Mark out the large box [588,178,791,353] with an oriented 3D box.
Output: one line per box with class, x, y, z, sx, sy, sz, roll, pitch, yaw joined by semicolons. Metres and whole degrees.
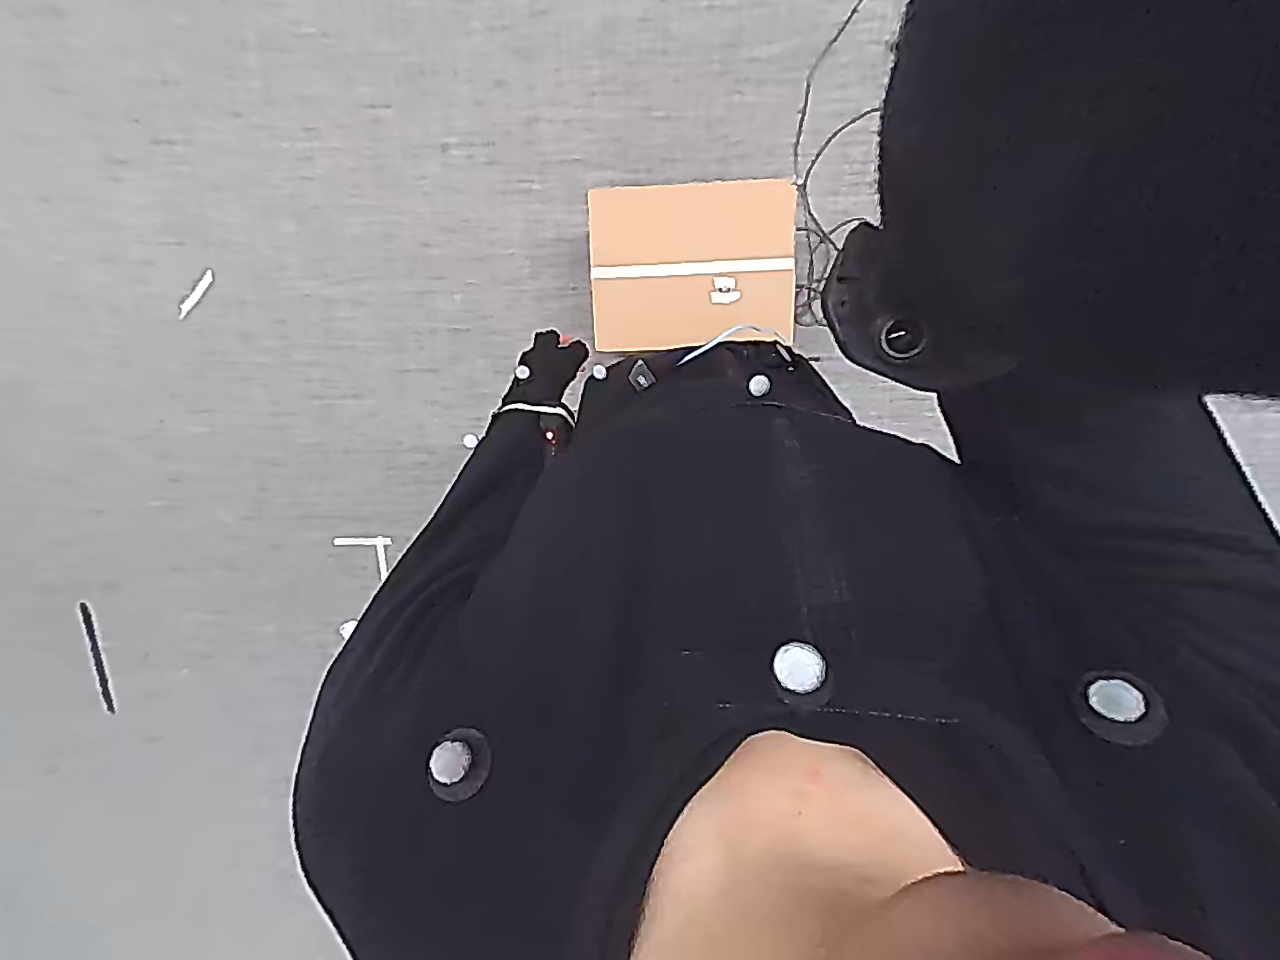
large box;0.107;-0.459;1.229;0.408;0.320;0.320;-1;102;4
